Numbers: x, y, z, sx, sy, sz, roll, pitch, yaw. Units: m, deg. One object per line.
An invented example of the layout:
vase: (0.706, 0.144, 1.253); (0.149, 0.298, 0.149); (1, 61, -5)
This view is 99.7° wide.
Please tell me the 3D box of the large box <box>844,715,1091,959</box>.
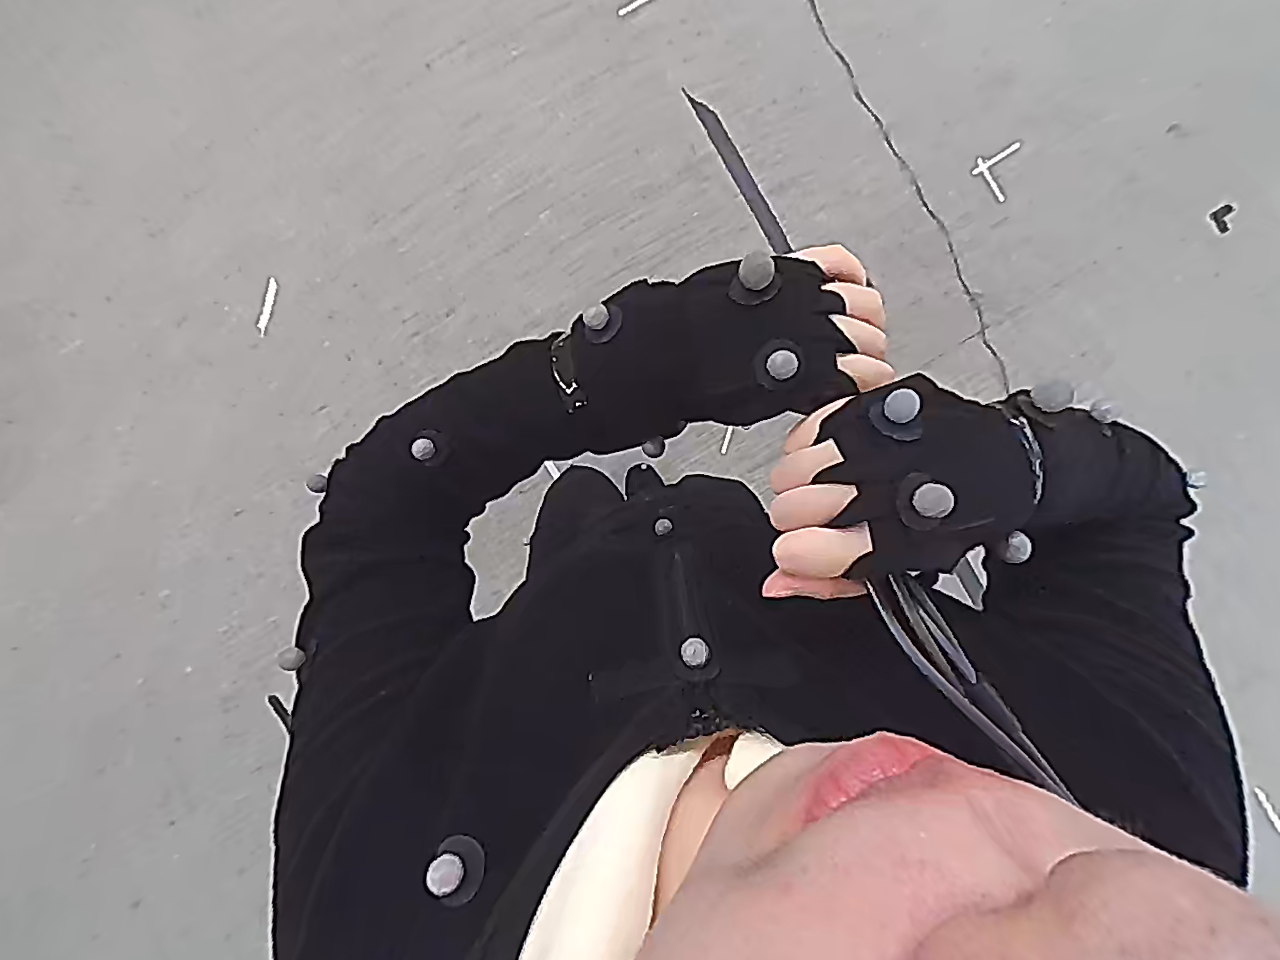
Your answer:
large box: (0.687, 0.798, 1.194); (0.320, 0.320, 0.408); (11, 91, 0)
